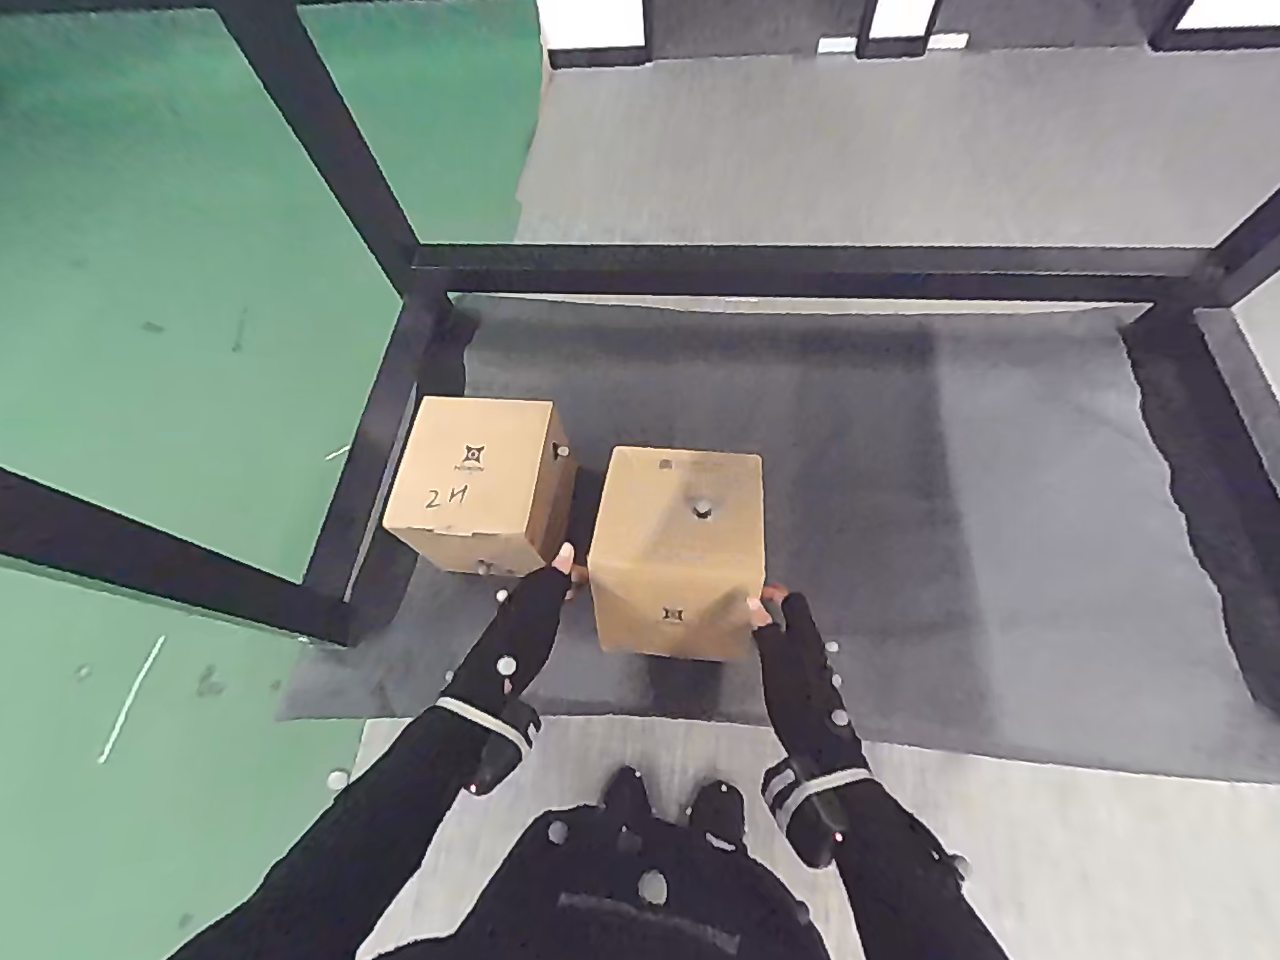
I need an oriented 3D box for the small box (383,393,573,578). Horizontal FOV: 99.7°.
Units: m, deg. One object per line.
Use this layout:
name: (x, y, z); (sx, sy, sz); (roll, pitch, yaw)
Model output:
small box: (-0.188, 0.011, 0.692); (0.168, 0.176, 0.179); (3, 64, 7)
